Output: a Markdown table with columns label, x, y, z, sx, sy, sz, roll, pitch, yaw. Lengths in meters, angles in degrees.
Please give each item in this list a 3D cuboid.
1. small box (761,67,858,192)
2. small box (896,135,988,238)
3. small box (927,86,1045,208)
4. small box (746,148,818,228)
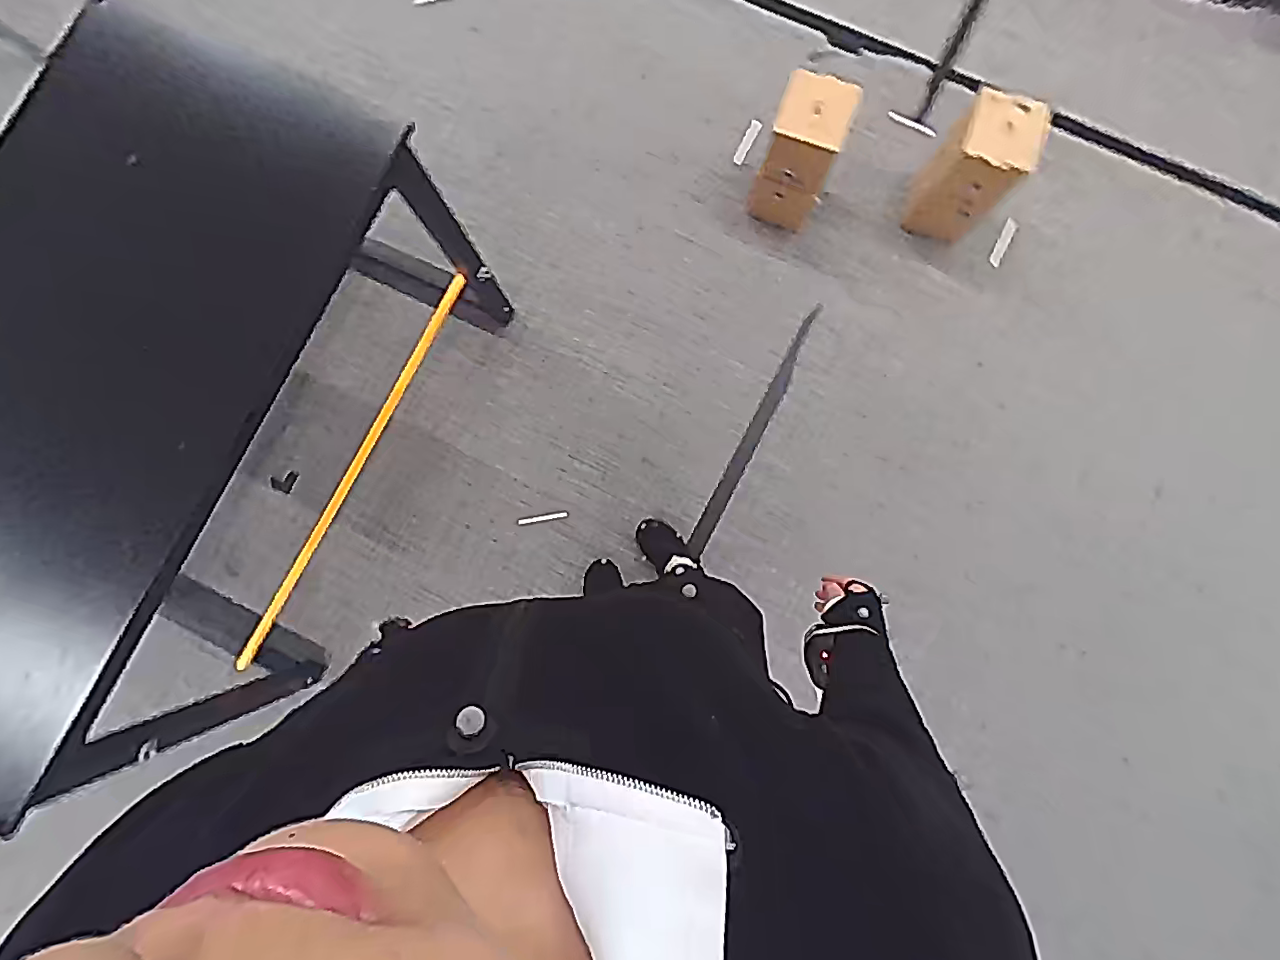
| label | x | y | z | sx | sy | sz | roll | pitch | yaw |
| --- | --- | --- | --- | --- | --- | --- | --- | --- | --- |
| small box | 0.414 | -0.868 | 1.353 | 0.168 | 0.176 | 0.179 | 20 | 86 | 4 |
| small box | 0.854 | -0.806 | 1.502 | 0.179 | 0.176 | 0.168 | 20 | 85 | 3 |
| small box | 0.845 | -0.814 | 1.339 | 0.168 | 0.176 | 0.179 | 19 | 86 | 3 |
| small box | 0.413 | -0.843 | 1.514 | 0.179 | 0.176 | 0.168 | 23 | 86 | 3 |
